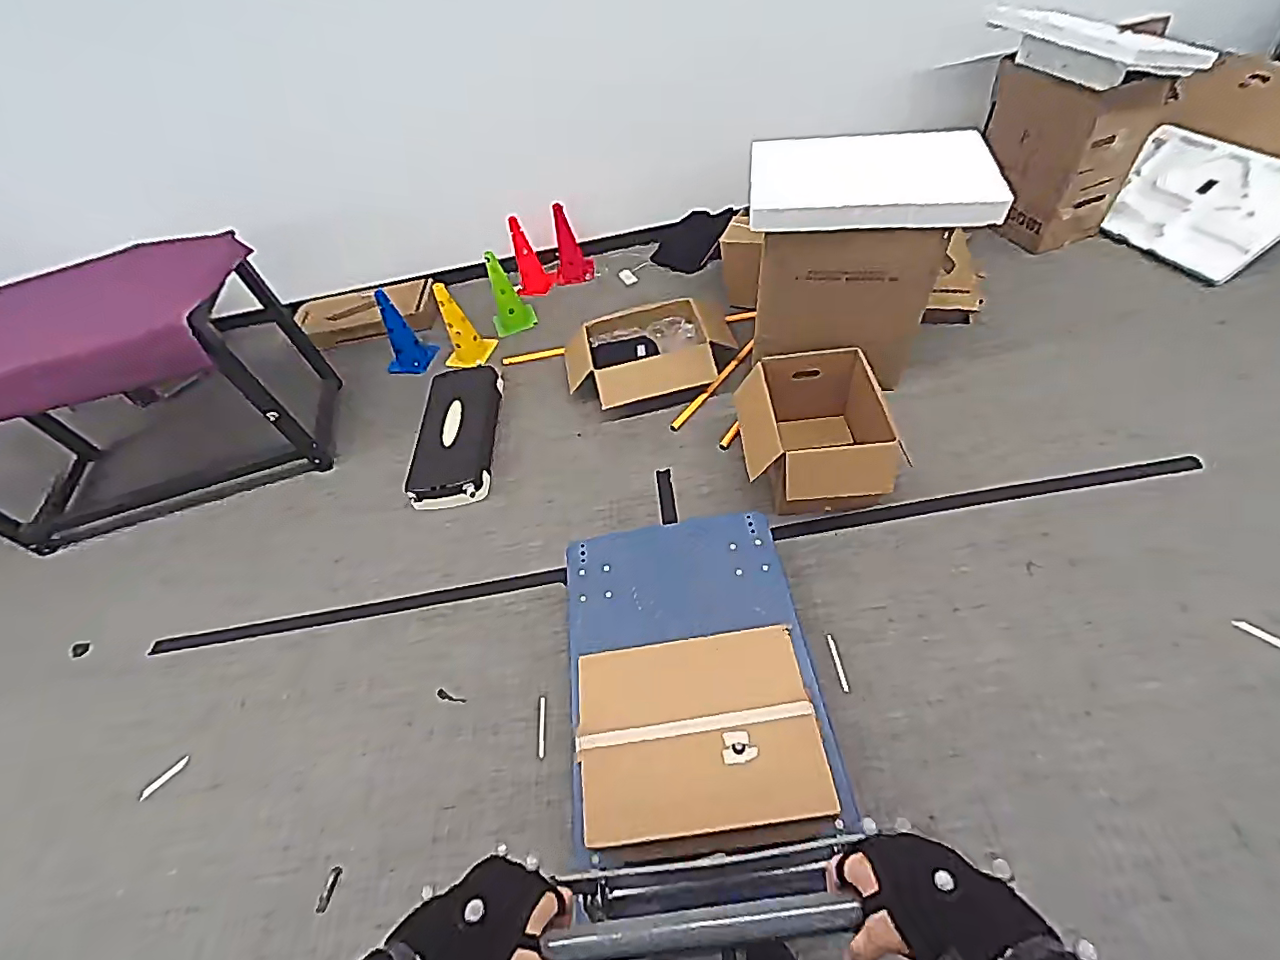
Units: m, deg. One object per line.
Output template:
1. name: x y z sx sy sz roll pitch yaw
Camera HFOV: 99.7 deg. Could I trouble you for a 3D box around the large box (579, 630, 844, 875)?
1. large box: 0.116 0.522 1.026 0.408 0.320 0.320 -10 51 2
